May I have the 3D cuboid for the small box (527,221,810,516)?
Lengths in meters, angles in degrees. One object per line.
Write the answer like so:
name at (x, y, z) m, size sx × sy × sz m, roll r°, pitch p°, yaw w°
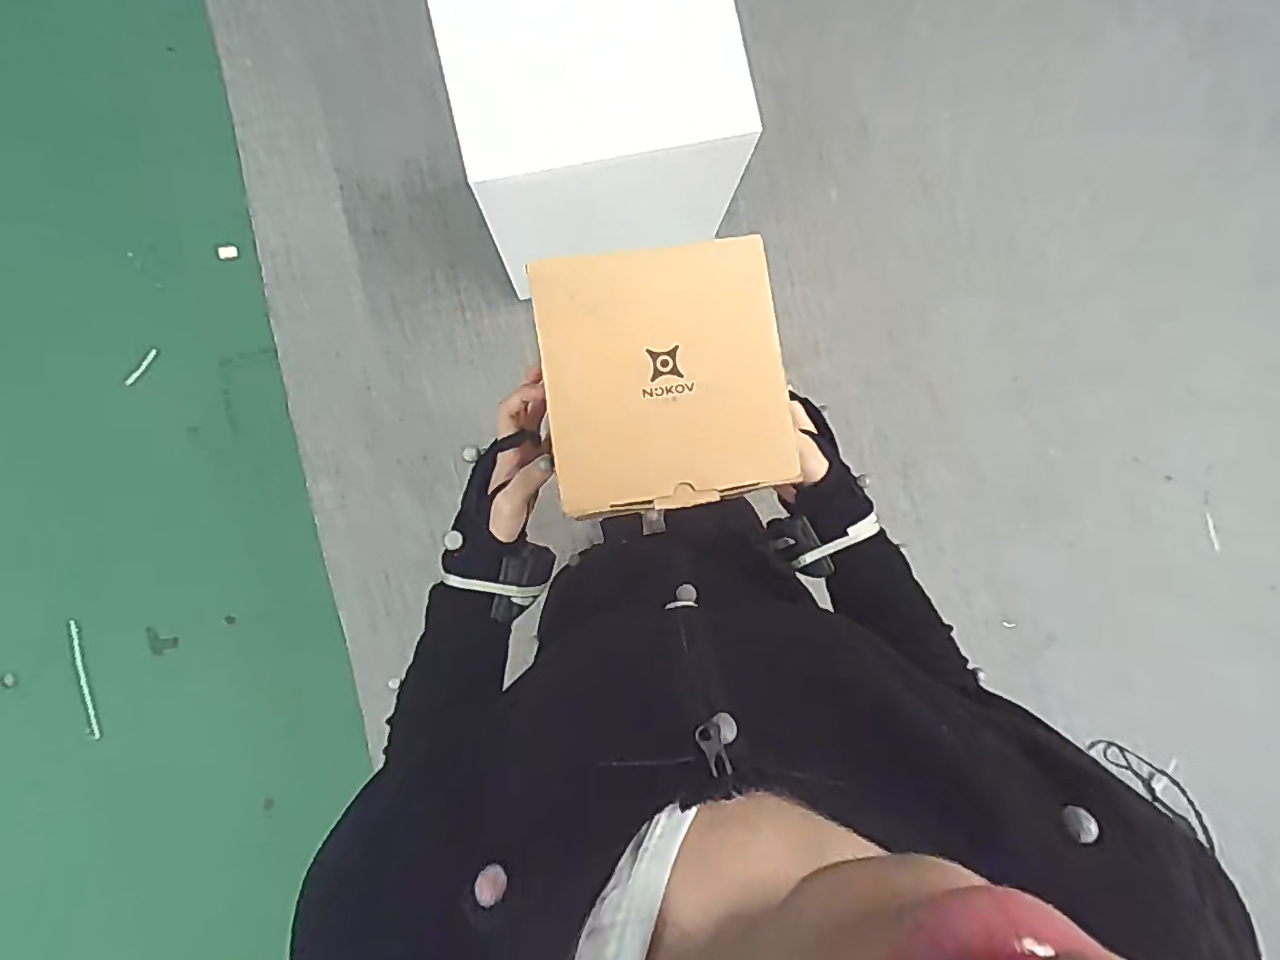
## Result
small box at (0.011, -0.071, 0.429) m, size 0.168 × 0.176 × 0.179 m, roll -9°, pitch 85°, yaw -5°
